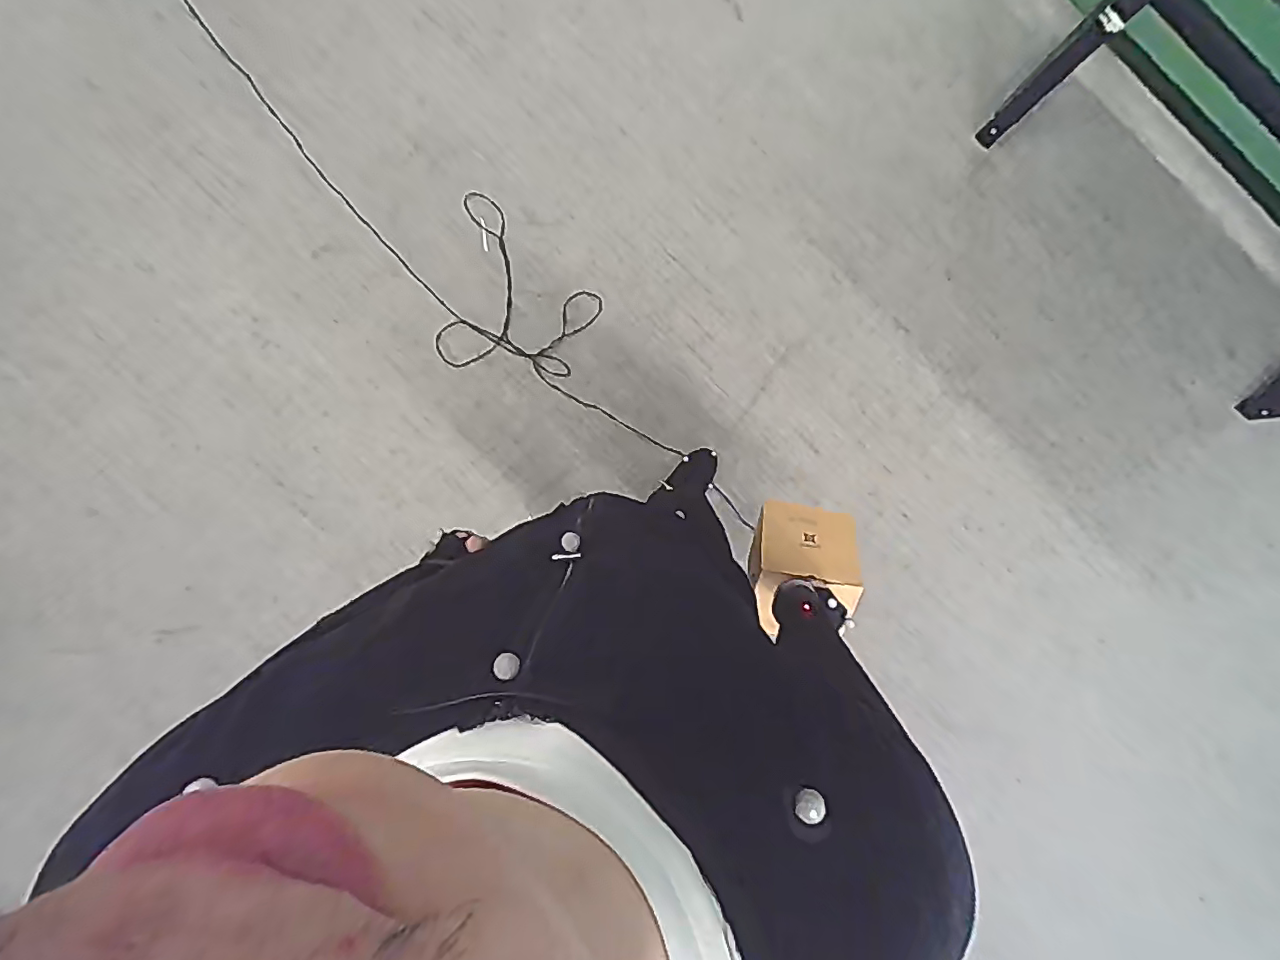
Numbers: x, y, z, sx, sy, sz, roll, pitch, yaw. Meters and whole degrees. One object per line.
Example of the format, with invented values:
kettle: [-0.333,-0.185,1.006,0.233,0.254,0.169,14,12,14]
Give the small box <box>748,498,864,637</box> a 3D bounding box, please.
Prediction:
small box: [0.291,0.160,0.980,0.168,0.179,0.176,7,130,6]
